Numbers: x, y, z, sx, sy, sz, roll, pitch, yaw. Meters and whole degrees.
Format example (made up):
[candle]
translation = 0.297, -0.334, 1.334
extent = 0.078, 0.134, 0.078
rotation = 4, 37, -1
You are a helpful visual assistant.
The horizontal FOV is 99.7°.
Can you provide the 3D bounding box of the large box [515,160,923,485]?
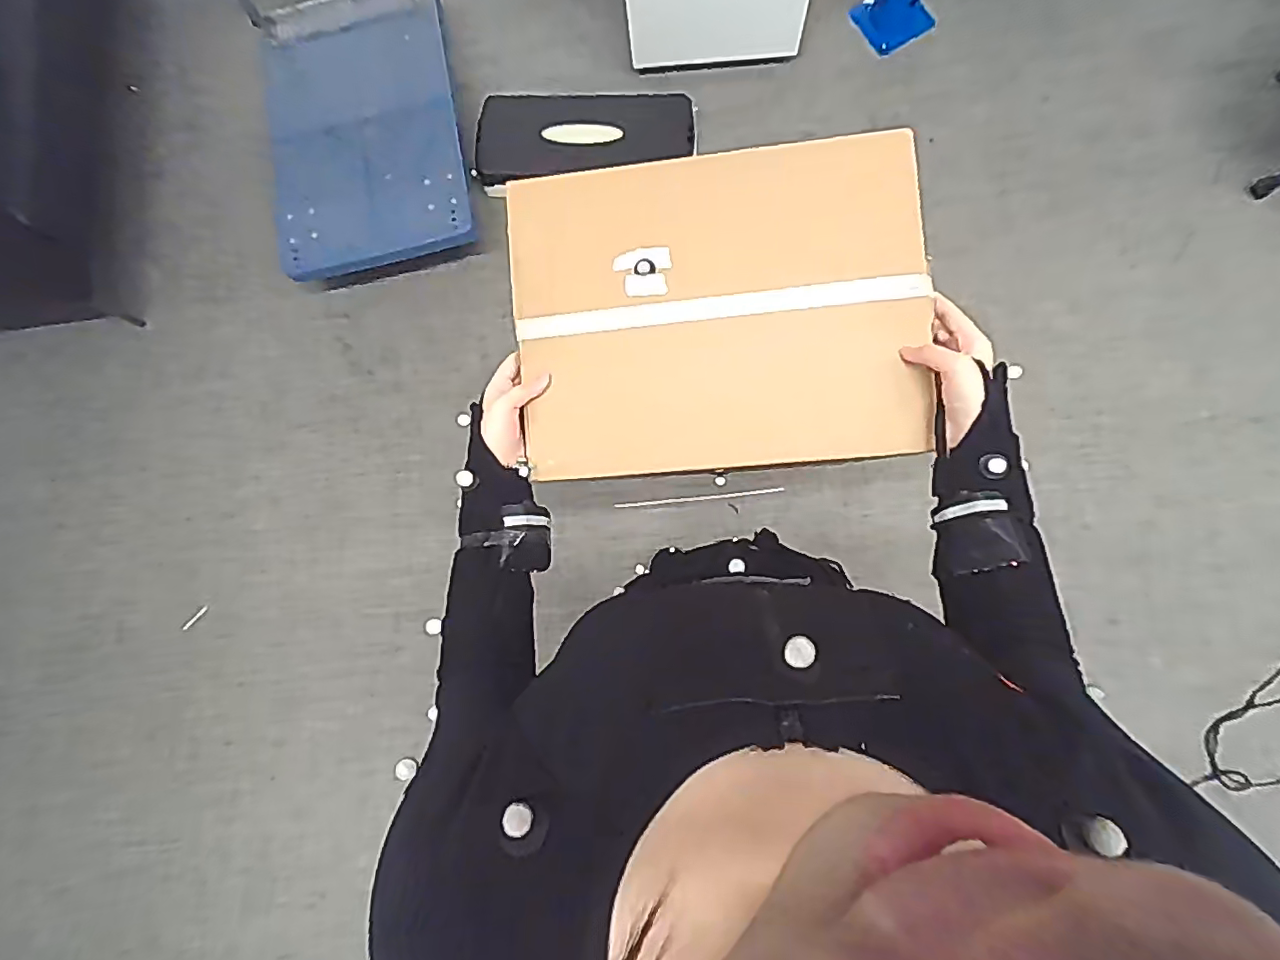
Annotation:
[large box]
translation = 0.087, -0.196, 0.703
extent = 0.408, 0.320, 0.320
rotation = 6, 104, 9
